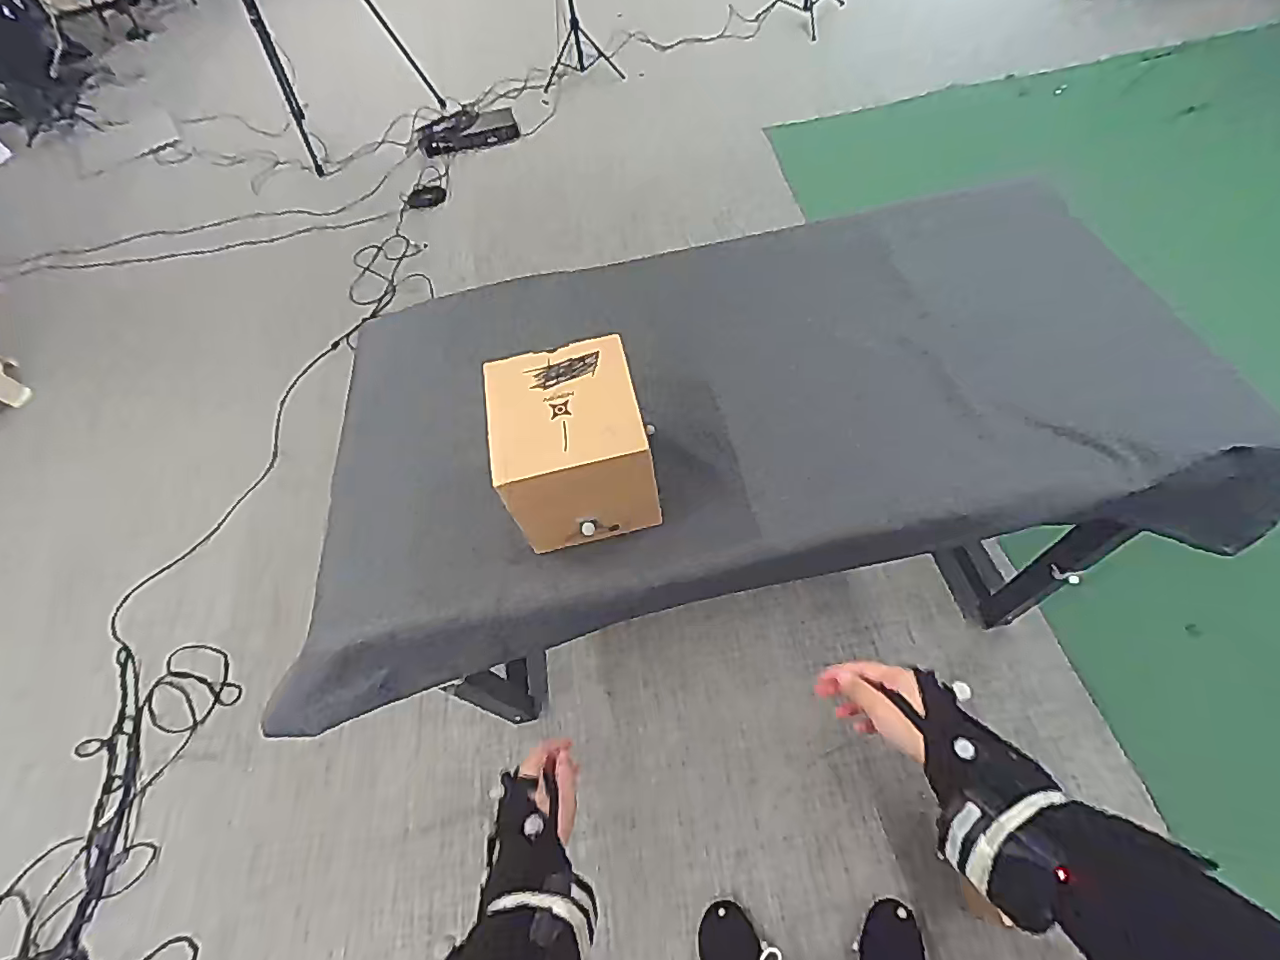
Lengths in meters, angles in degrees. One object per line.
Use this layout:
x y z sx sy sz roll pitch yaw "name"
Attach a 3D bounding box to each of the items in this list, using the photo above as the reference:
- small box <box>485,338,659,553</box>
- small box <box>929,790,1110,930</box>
-0.078 -0.036 0.654 0.168 0.176 0.179 -14 57 0 "small box"
0.659 0.670 0.967 0.179 0.176 0.168 -15 56 -1 "small box"
